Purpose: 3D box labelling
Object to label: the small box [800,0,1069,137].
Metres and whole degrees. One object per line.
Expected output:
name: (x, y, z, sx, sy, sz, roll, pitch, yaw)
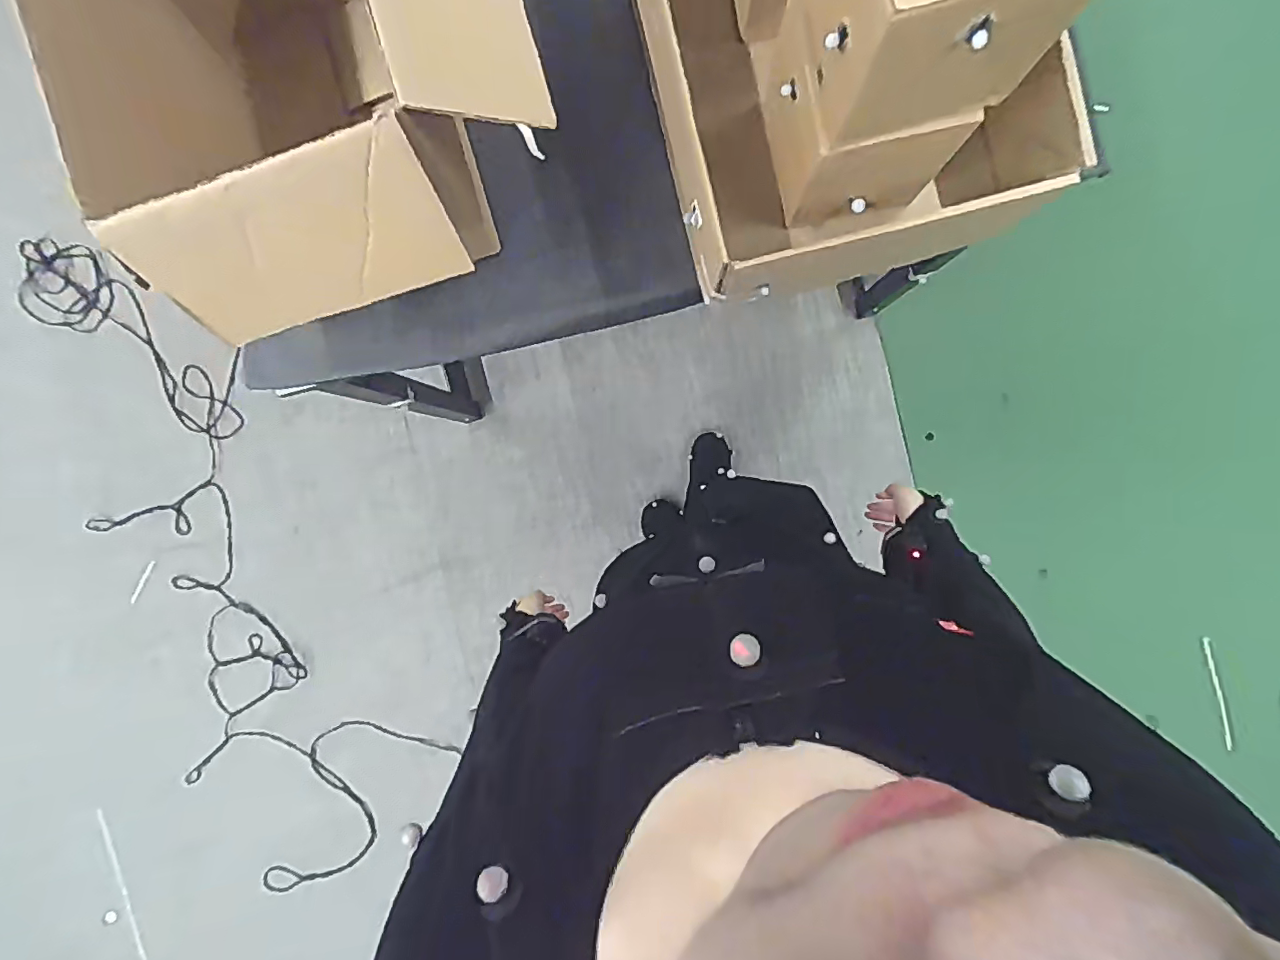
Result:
small box: (0.247, -0.434, 0.461, 0.179, 0.176, 0.168, -14, 91, 3)
